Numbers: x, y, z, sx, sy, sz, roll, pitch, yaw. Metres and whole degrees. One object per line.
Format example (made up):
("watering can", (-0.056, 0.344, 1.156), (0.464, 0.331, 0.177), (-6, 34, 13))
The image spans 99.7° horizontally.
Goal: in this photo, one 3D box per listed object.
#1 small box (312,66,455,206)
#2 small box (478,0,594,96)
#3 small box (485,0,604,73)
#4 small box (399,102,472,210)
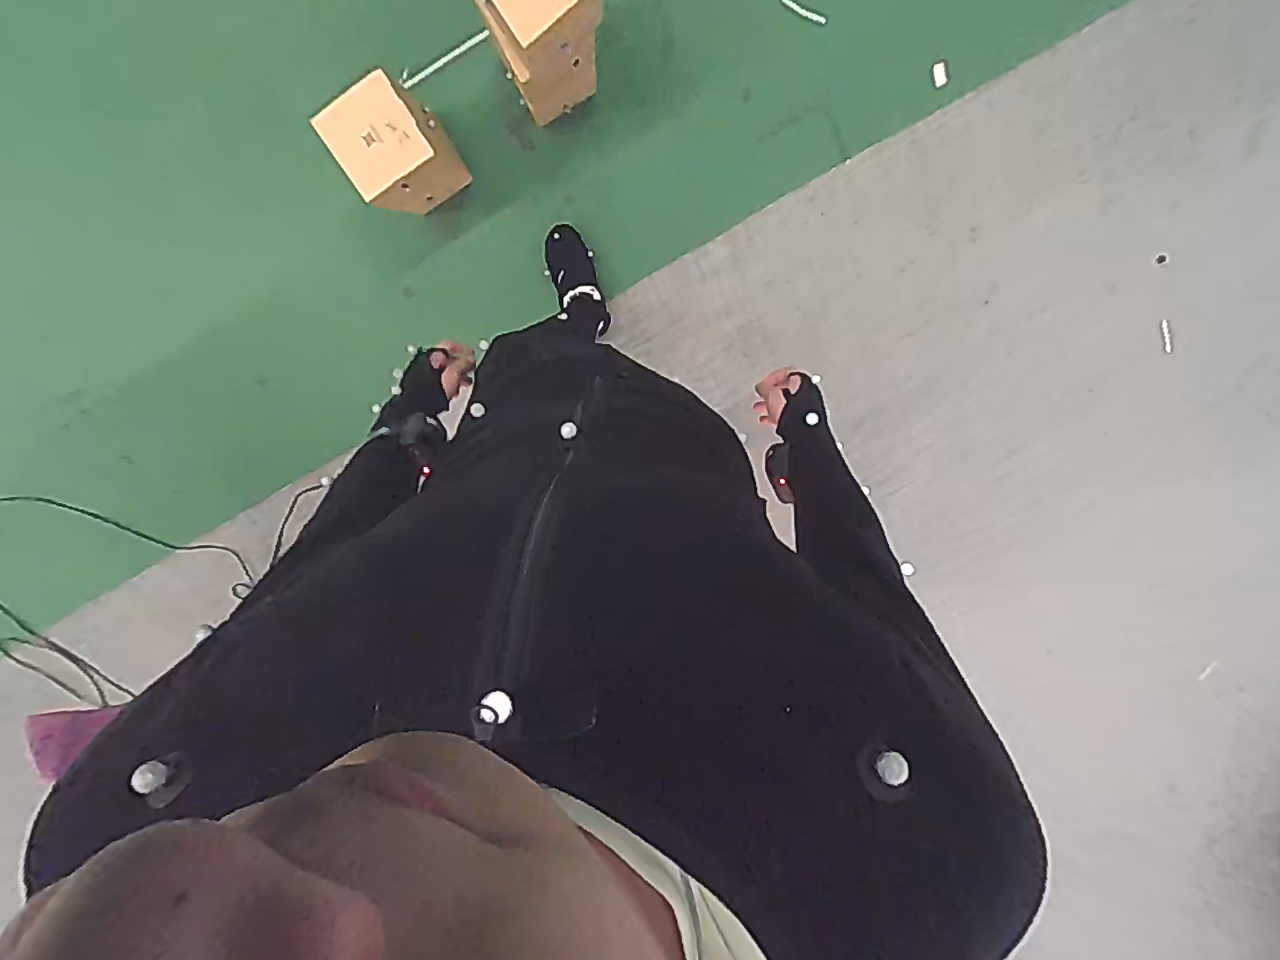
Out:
("small box", (-0.515, -0.691, 1.114), (0.179, 0.176, 0.168), (-29, 110, 8))
("small box", (-0.199, -0.889, 1.054), (0.168, 0.176, 0.179), (-29, 111, 7))
("small box", (-0.175, -0.836, 0.900), (0.168, 0.176, 0.179), (-34, 112, 9))
("small box", (-0.522, -0.756, 1.265), (0.168, 0.176, 0.179), (-29, 109, 9))
